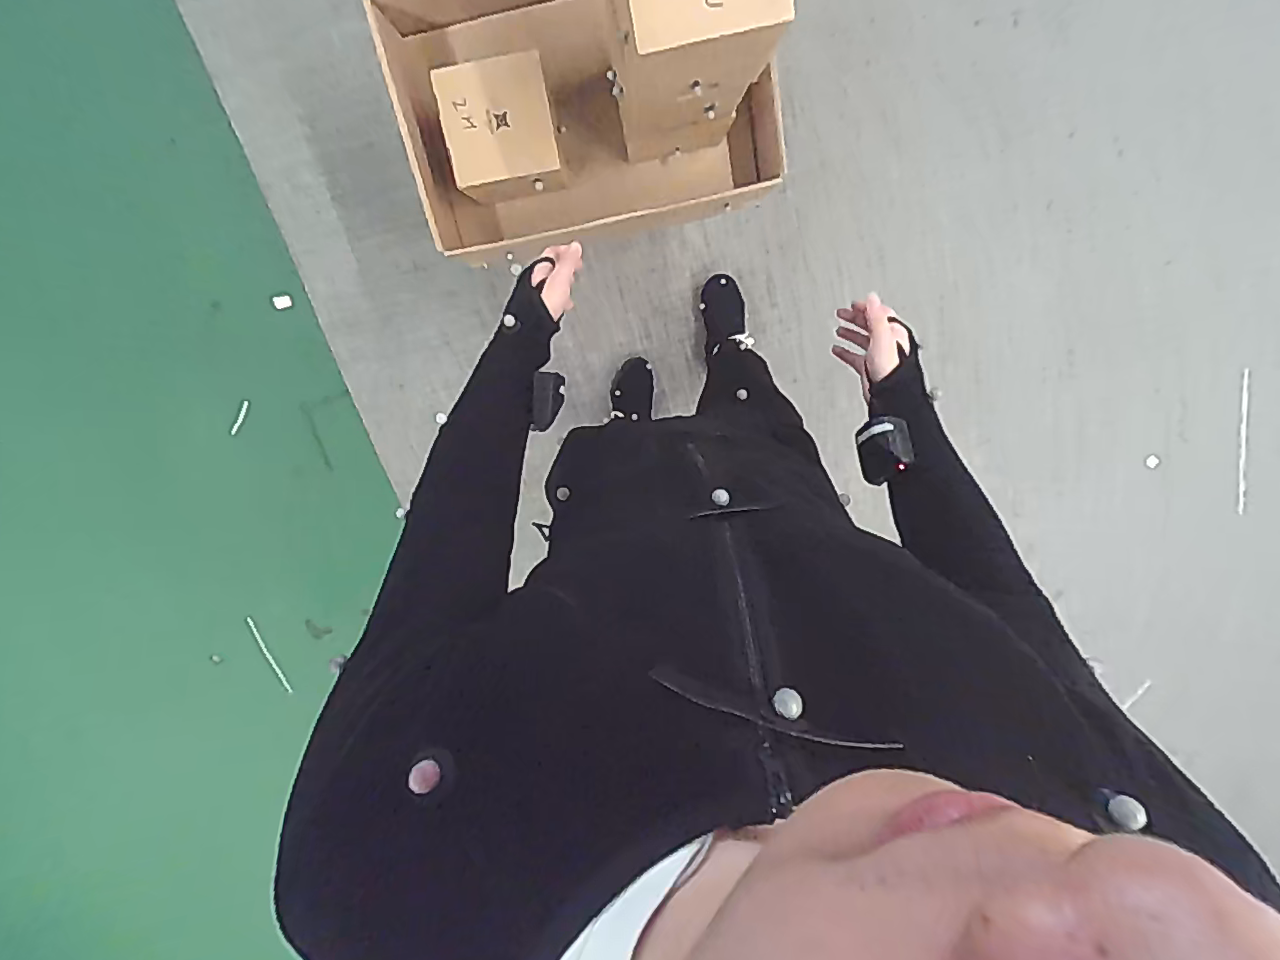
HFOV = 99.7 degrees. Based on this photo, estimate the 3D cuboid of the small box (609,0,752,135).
[{"bbox_3d":[0.052,-0.607,0.754,0.168,0.176,0.179,-11,108,2],"label":"small box"}]
